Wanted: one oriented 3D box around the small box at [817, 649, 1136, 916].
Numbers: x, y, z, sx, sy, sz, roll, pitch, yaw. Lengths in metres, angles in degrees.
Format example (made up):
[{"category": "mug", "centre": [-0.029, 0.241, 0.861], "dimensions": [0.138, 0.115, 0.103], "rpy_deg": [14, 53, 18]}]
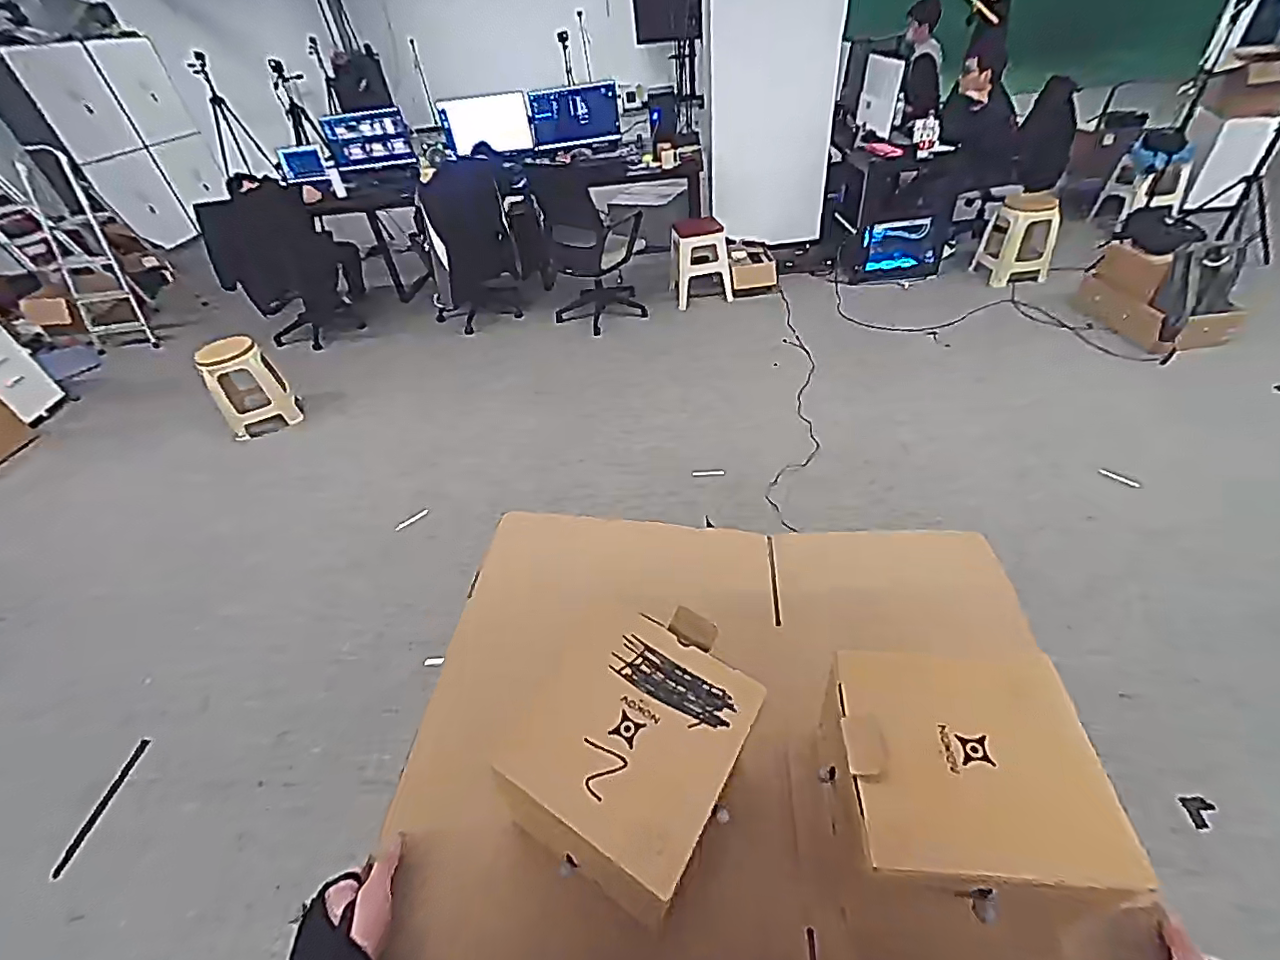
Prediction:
[{"category": "small box", "centre": [0.264, 0.268, 0.482], "dimensions": [0.179, 0.176, 0.168], "rpy_deg": [-3, 44, 10]}]
